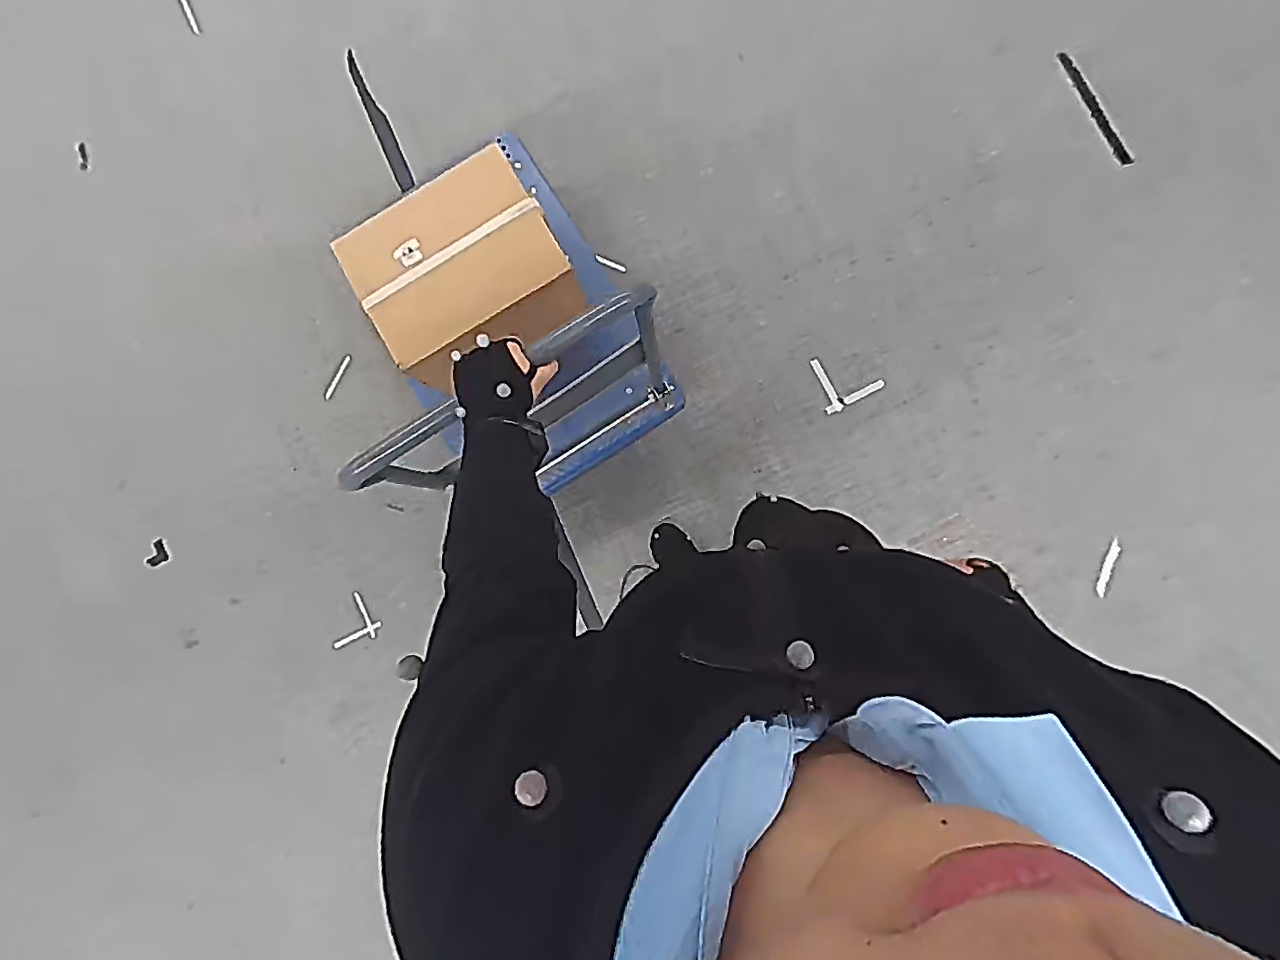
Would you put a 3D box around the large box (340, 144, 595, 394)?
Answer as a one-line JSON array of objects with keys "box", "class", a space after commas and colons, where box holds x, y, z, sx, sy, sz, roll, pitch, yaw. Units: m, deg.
[{"box": [-0.368, -0.452, 1.250, 0.408, 0.320, 0.320, -31, 84, 3], "class": "large box"}]
